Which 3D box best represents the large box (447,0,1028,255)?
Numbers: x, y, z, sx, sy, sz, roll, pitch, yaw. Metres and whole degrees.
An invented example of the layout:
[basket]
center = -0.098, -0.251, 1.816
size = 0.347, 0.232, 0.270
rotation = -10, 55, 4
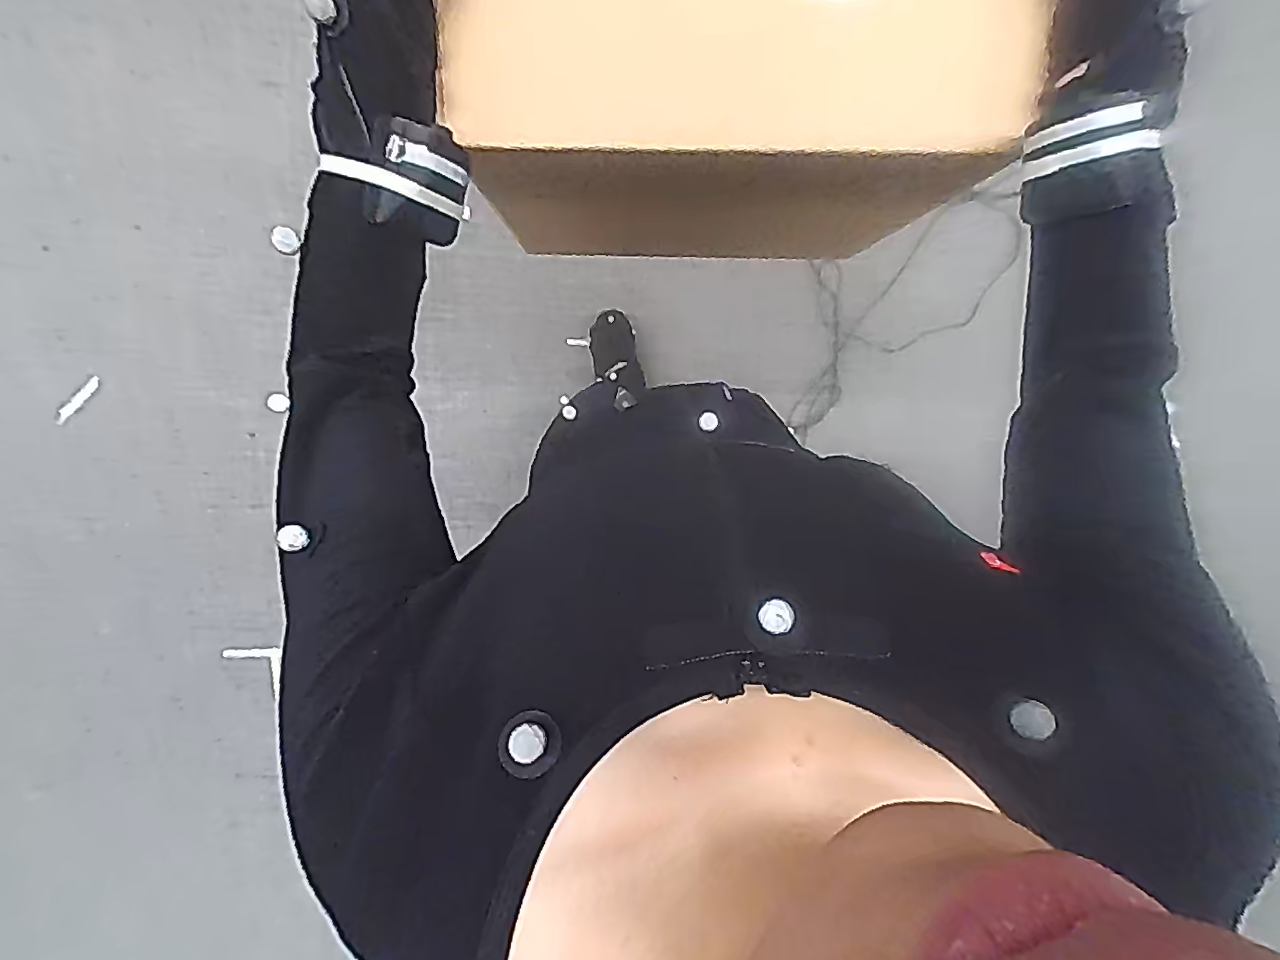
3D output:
[large box]
center = 0.062, -0.410, 0.503
size = 0.408, 0.320, 0.320
rotation = 0, 100, -2
